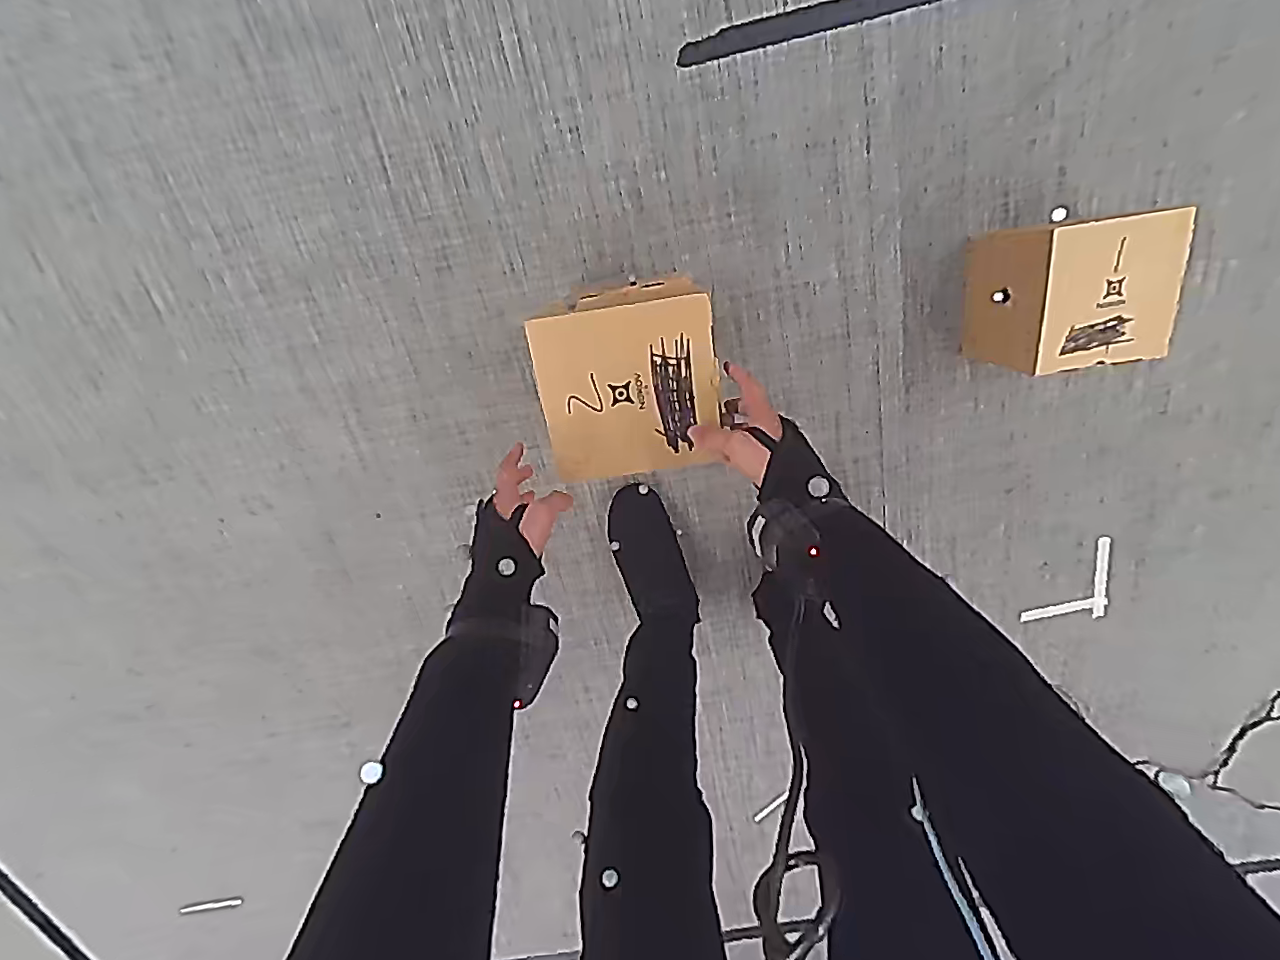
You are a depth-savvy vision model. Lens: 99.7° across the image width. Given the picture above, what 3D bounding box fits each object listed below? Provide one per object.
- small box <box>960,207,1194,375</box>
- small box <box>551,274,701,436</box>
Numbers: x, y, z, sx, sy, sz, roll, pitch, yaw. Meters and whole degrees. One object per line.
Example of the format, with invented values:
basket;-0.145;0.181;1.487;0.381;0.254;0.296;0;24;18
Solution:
small box;0.556;-0.251;0.719;0.168;0.176;0.179;-8;111;1
small box;-0.013;-0.177;0.742;0.168;0.176;0.179;-9;111;3
